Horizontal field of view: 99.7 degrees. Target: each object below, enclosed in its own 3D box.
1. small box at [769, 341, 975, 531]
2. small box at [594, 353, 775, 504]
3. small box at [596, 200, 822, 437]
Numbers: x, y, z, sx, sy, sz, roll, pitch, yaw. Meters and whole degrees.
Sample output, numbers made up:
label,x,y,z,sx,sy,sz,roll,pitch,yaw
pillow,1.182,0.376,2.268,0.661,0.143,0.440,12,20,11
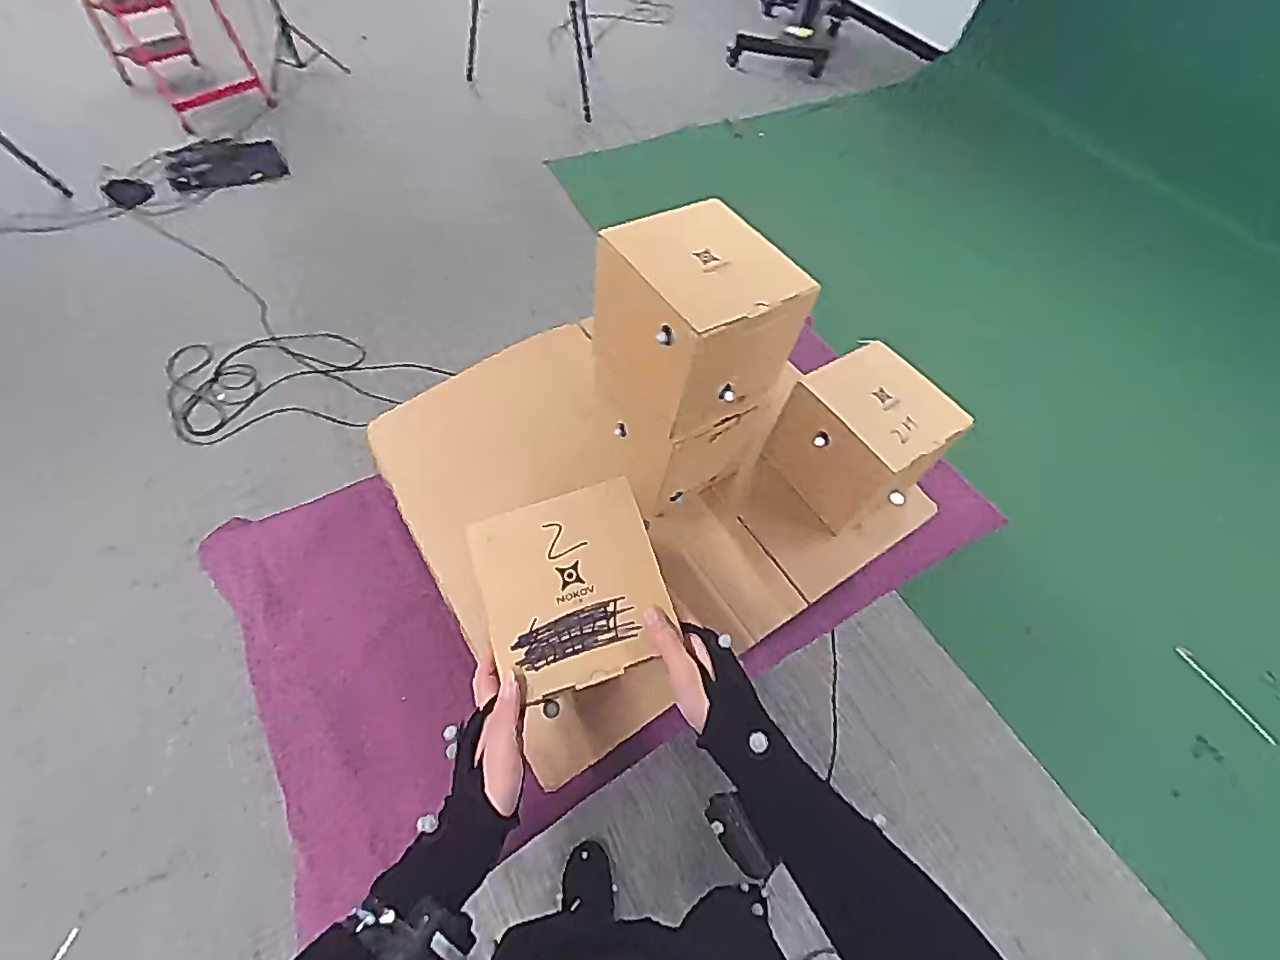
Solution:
label,x,y,z,sx,sy,sz,roll,pitch,yaw
small box,0.313,-0.060,0.770,0.168,0.176,0.179,-27,65,-22
small box,0.050,-0.089,0.752,0.168,0.176,0.179,-27,64,-24
small box,0.063,-0.182,0.620,0.168,0.176,0.179,-28,65,-24
